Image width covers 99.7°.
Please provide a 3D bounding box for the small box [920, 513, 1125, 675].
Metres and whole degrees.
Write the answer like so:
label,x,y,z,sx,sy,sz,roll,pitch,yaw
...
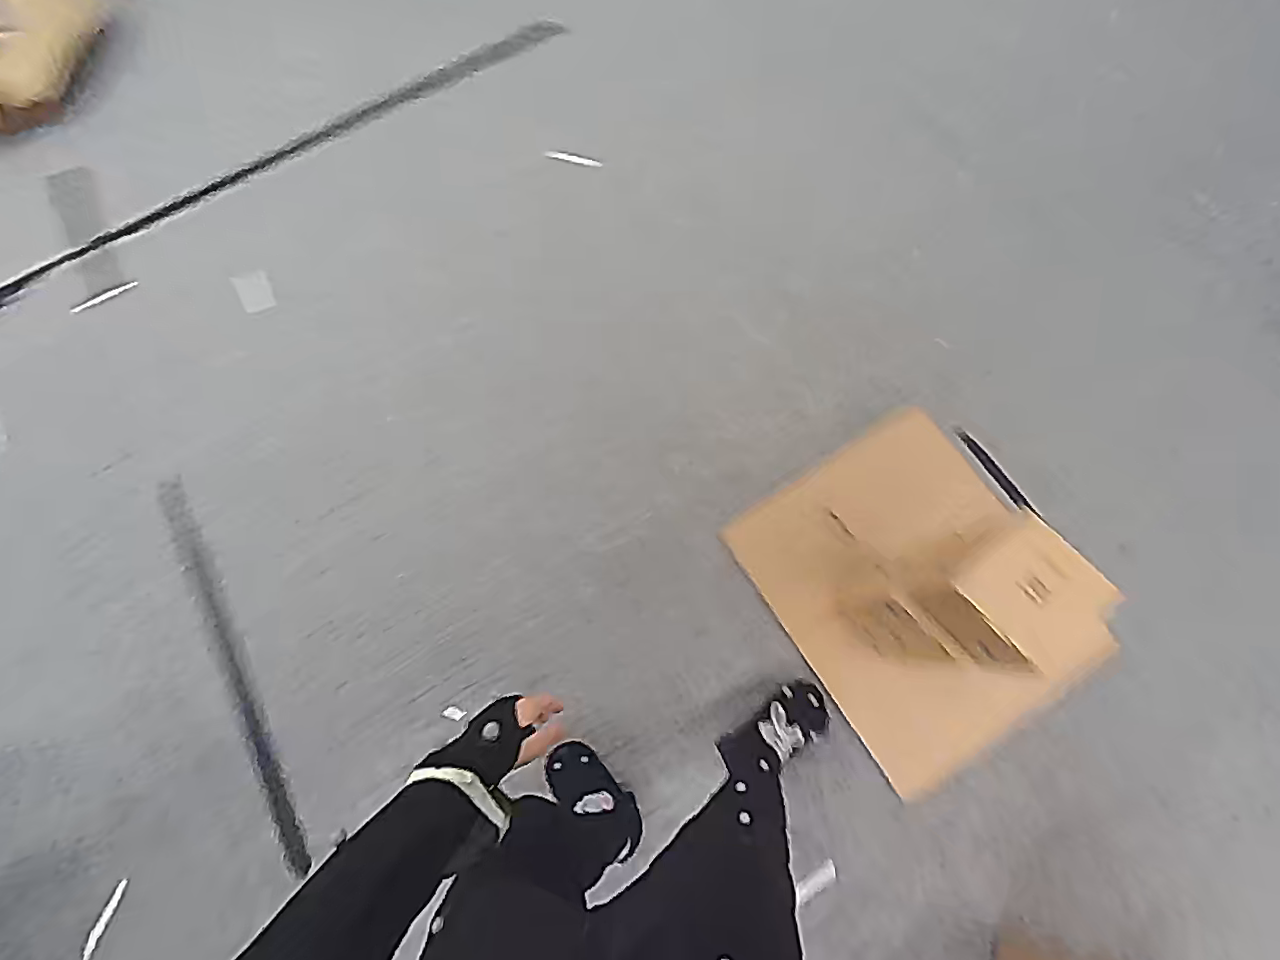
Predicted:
label,x,y,z,sx,sy,sz,roll,pitch,yaw
small box,0.579,0.183,0.853,0.179,0.176,0.168,-39,76,-9
